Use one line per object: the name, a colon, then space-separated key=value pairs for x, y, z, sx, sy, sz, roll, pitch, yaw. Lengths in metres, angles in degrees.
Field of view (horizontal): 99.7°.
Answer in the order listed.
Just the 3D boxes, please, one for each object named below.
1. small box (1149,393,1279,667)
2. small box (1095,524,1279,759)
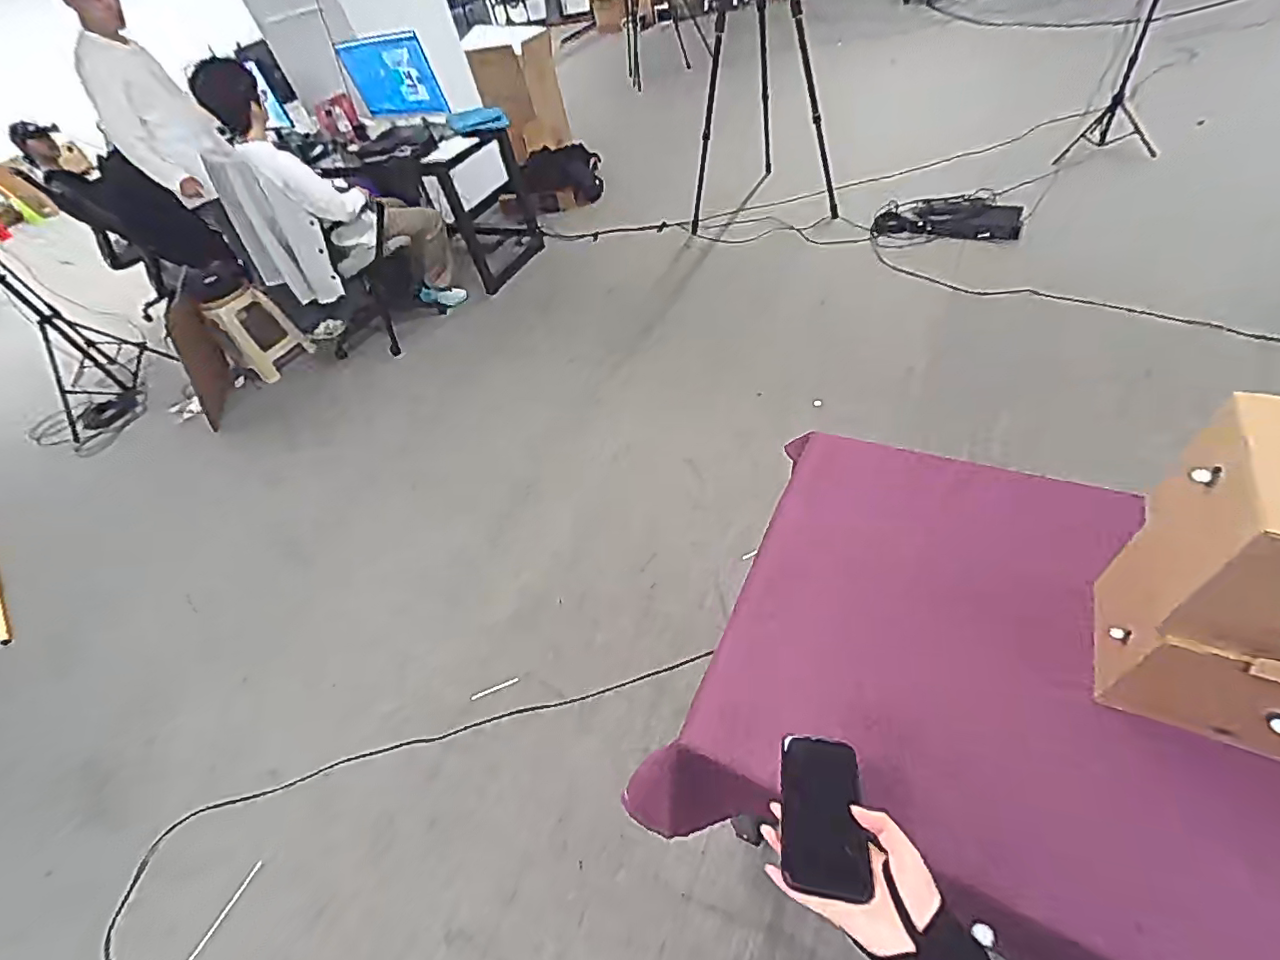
small box: x=0.595 y=0.052 z=0.480 sx=0.168 sy=0.176 sz=0.179 roll=14 pitch=54 yaw=26
small box: x=0.632 y=0.171 z=0.590 sx=0.168 sy=0.176 sz=0.179 roll=15 pitch=54 yaw=26
